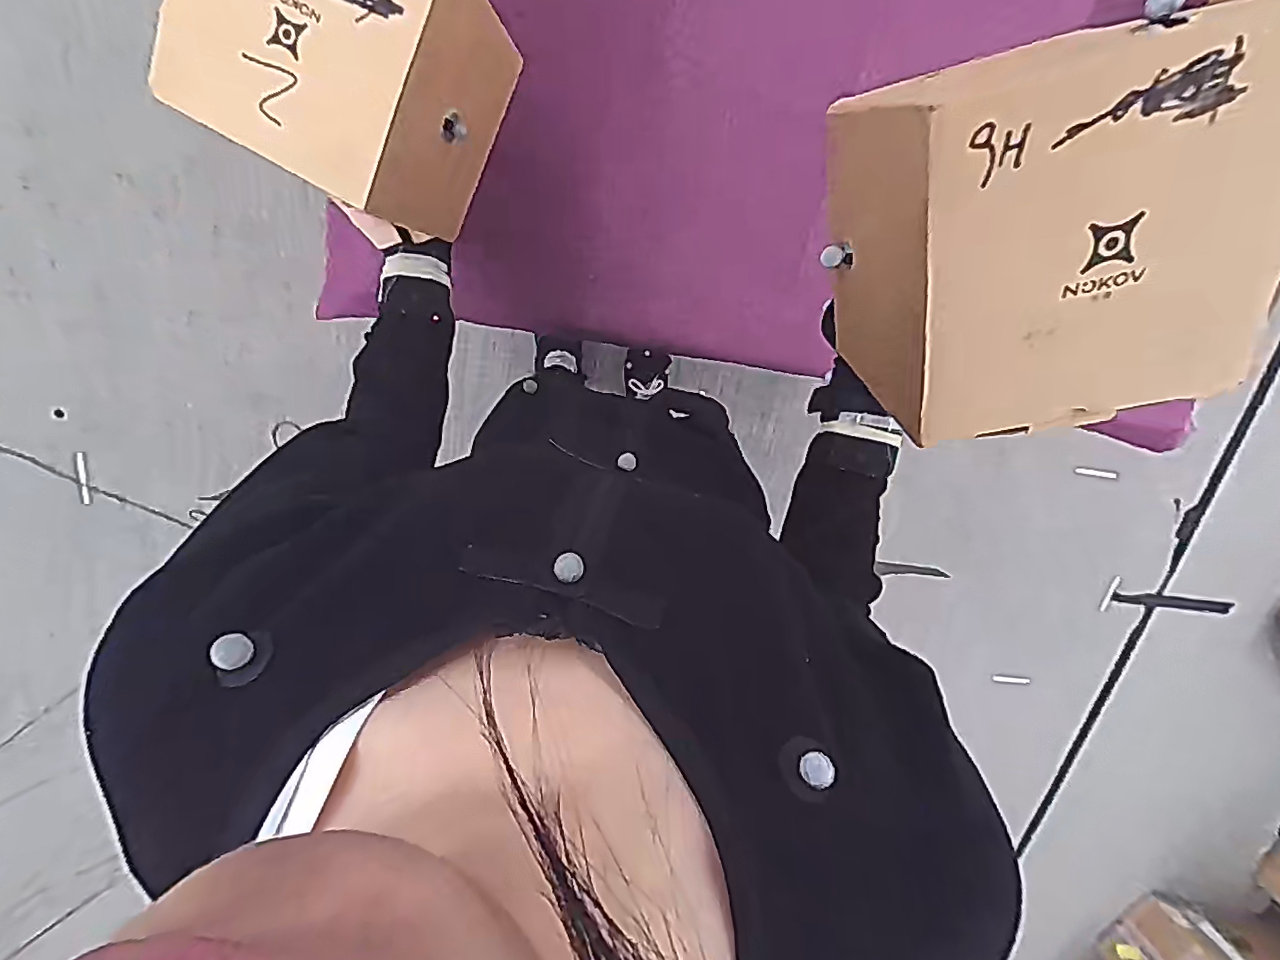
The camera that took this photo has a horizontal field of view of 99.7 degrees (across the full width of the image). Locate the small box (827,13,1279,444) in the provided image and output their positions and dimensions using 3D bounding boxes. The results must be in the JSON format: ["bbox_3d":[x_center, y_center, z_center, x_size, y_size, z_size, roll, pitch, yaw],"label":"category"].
[{"bbox_3d":[0.221,-0.149,0.331,0.168,0.176,0.179,-11,123,8],"label":"small box"}]

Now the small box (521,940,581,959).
[{"bbox_3d":[-0.286,1.583,1.686,0.179,0.176,0.168,15,107,-11],"label":"small box"}]
